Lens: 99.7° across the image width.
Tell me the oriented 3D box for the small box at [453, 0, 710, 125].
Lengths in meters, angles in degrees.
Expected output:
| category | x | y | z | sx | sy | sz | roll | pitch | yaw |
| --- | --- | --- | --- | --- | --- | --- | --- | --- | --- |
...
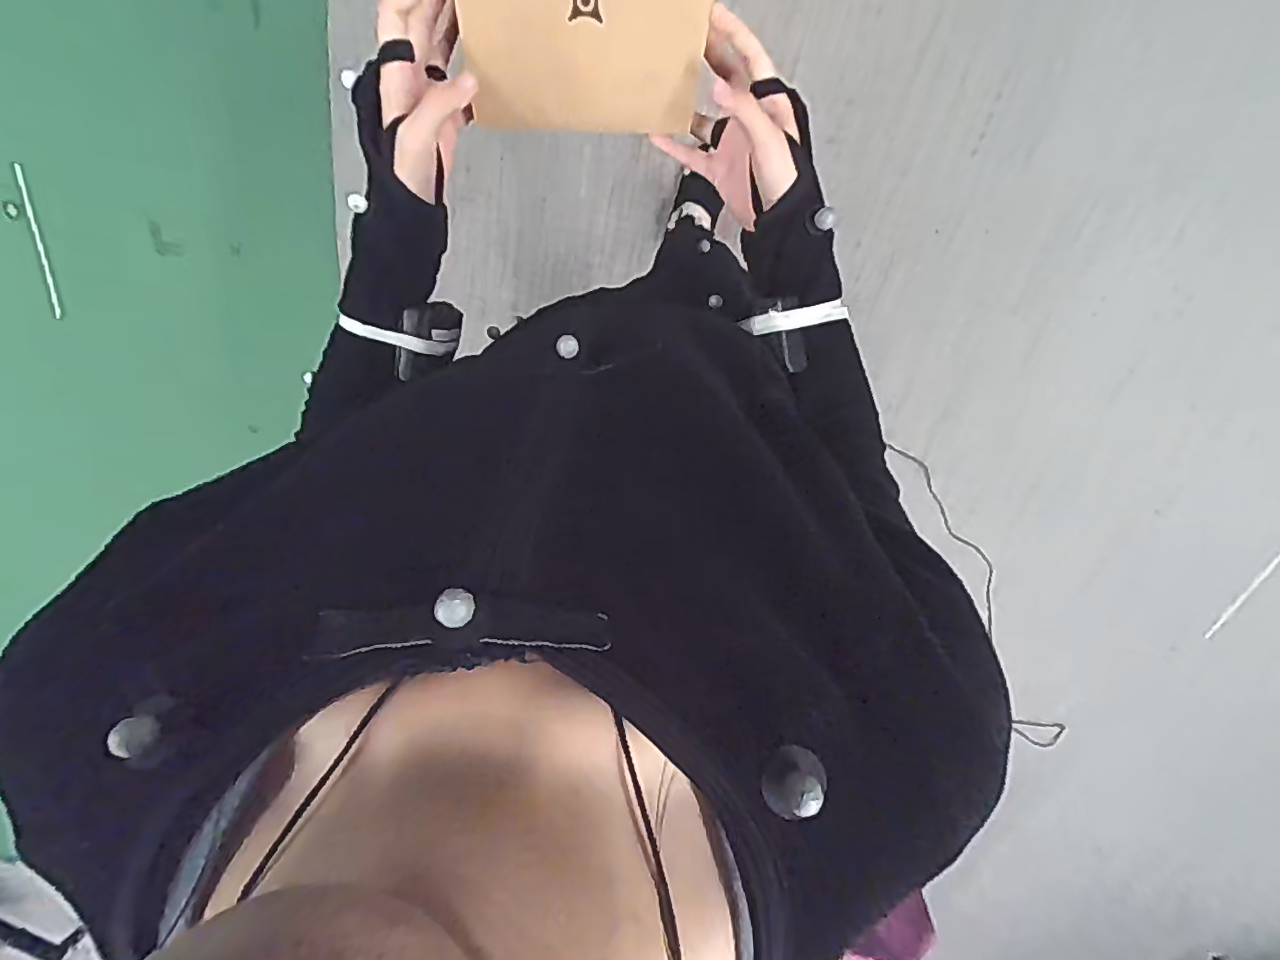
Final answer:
| category | x | y | z | sx | sy | sz | roll | pitch | yaw |
| --- | --- | --- | --- | --- | --- | --- | --- | --- | --- |
| small box | -0.042 | -0.382 | 0.367 | 0.168 | 0.176 | 0.179 | -3 | 154 | -7 |
